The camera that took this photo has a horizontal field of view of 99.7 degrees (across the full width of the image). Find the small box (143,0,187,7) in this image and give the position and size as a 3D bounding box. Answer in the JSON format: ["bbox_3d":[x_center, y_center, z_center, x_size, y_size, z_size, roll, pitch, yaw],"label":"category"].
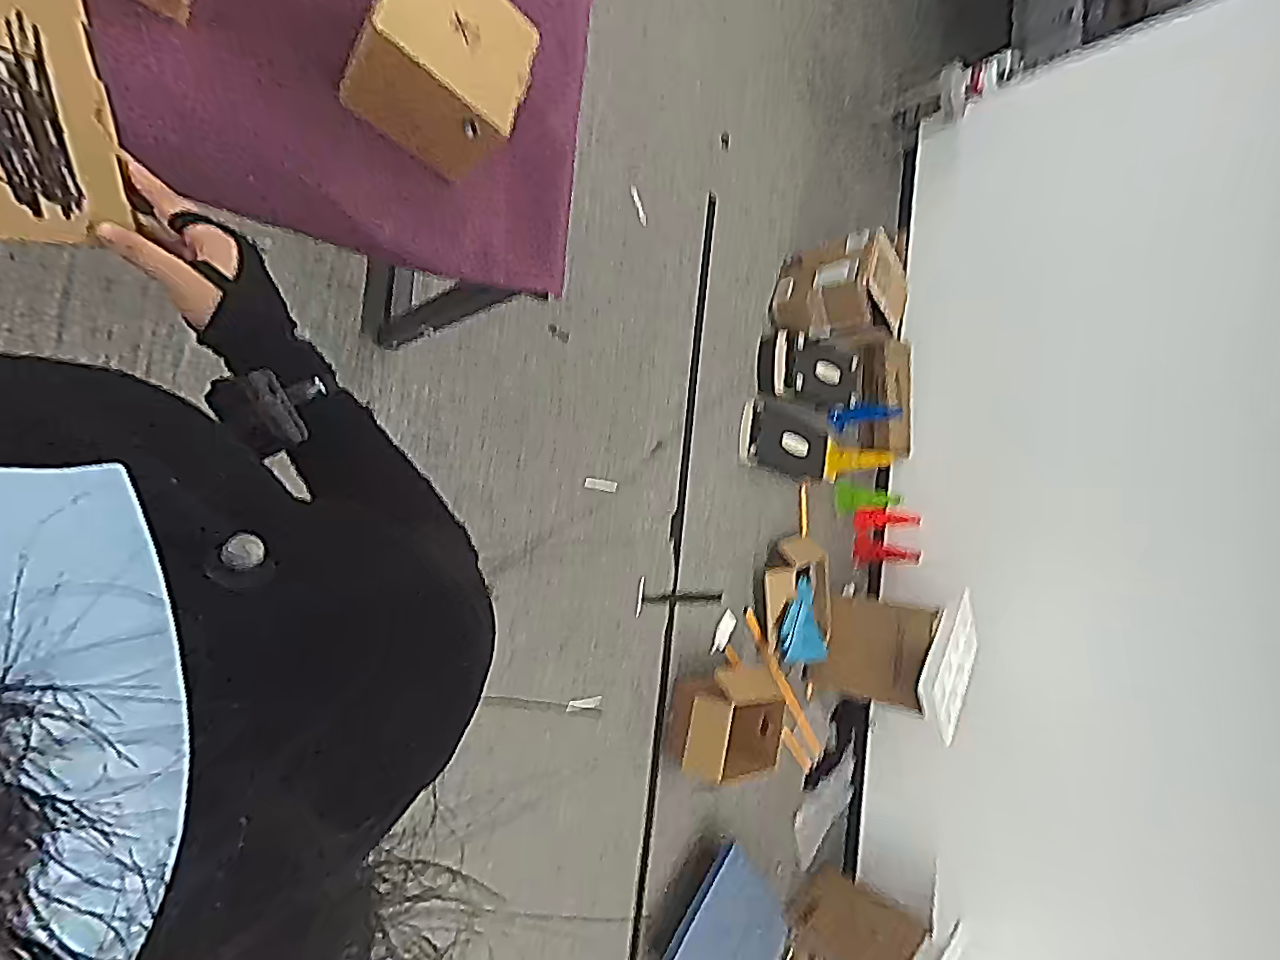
[{"bbox_3d":[-0.503,-0.600,0.498,0.179,0.176,0.168,13,82,-43],"label":"small box"}]

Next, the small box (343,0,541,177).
[{"bbox_3d":[-0.267,-0.549,0.724,0.179,0.176,0.168,23,76,-42],"label":"small box"}]
